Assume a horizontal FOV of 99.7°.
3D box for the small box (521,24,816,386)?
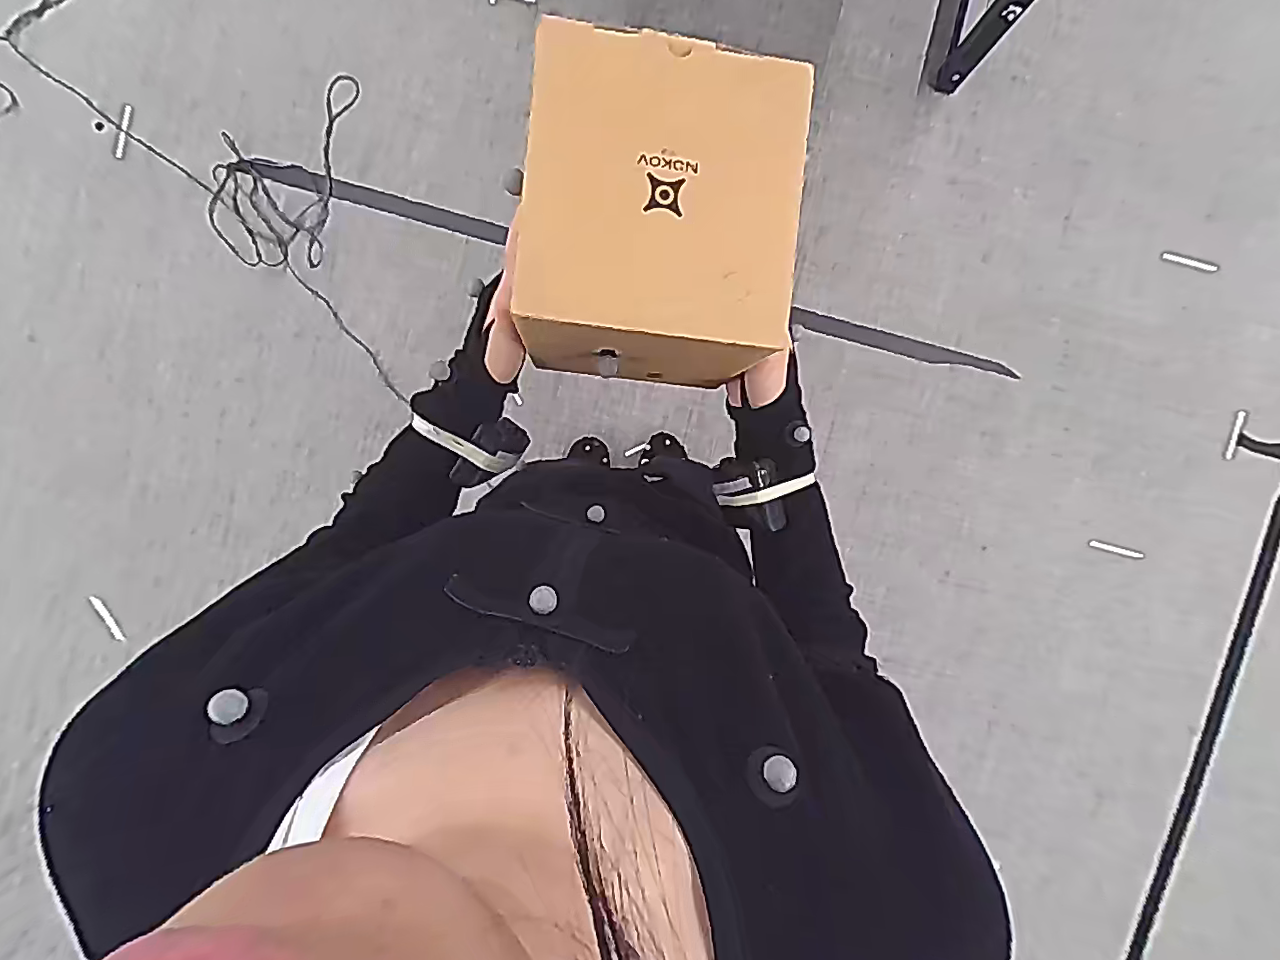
[{"bbox_3d":[0.011,-0.174,0.403,0.168,0.176,0.179,6,89,-6],"label":"small box"}]
